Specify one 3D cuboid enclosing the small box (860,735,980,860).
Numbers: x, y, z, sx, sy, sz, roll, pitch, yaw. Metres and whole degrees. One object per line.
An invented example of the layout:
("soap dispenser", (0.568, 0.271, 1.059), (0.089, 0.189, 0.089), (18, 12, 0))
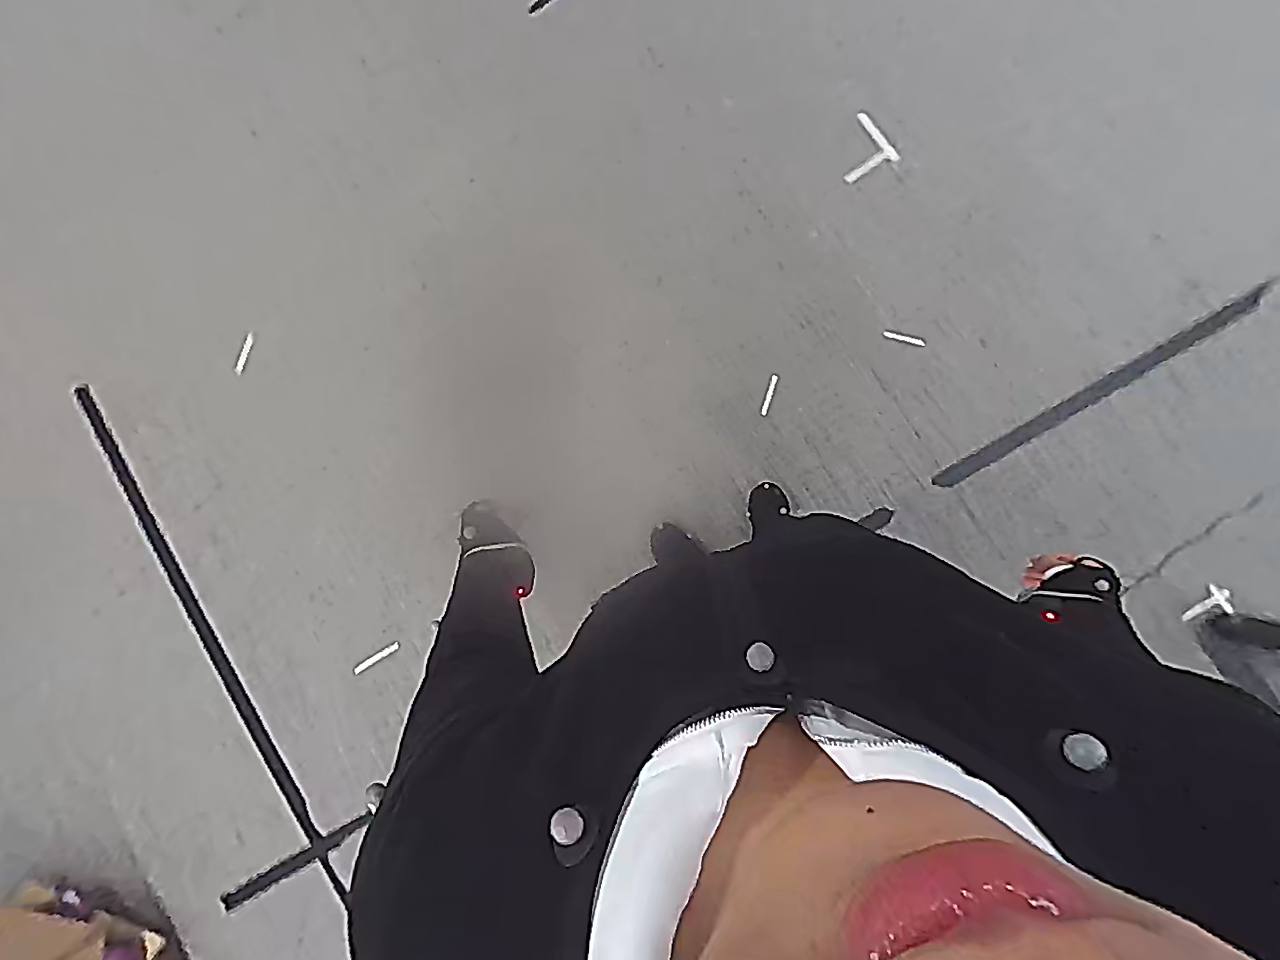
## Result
("small box", (0.685, 0.778, 1.344), (0.168, 0.176, 0.179), (-33, 85, 2))
